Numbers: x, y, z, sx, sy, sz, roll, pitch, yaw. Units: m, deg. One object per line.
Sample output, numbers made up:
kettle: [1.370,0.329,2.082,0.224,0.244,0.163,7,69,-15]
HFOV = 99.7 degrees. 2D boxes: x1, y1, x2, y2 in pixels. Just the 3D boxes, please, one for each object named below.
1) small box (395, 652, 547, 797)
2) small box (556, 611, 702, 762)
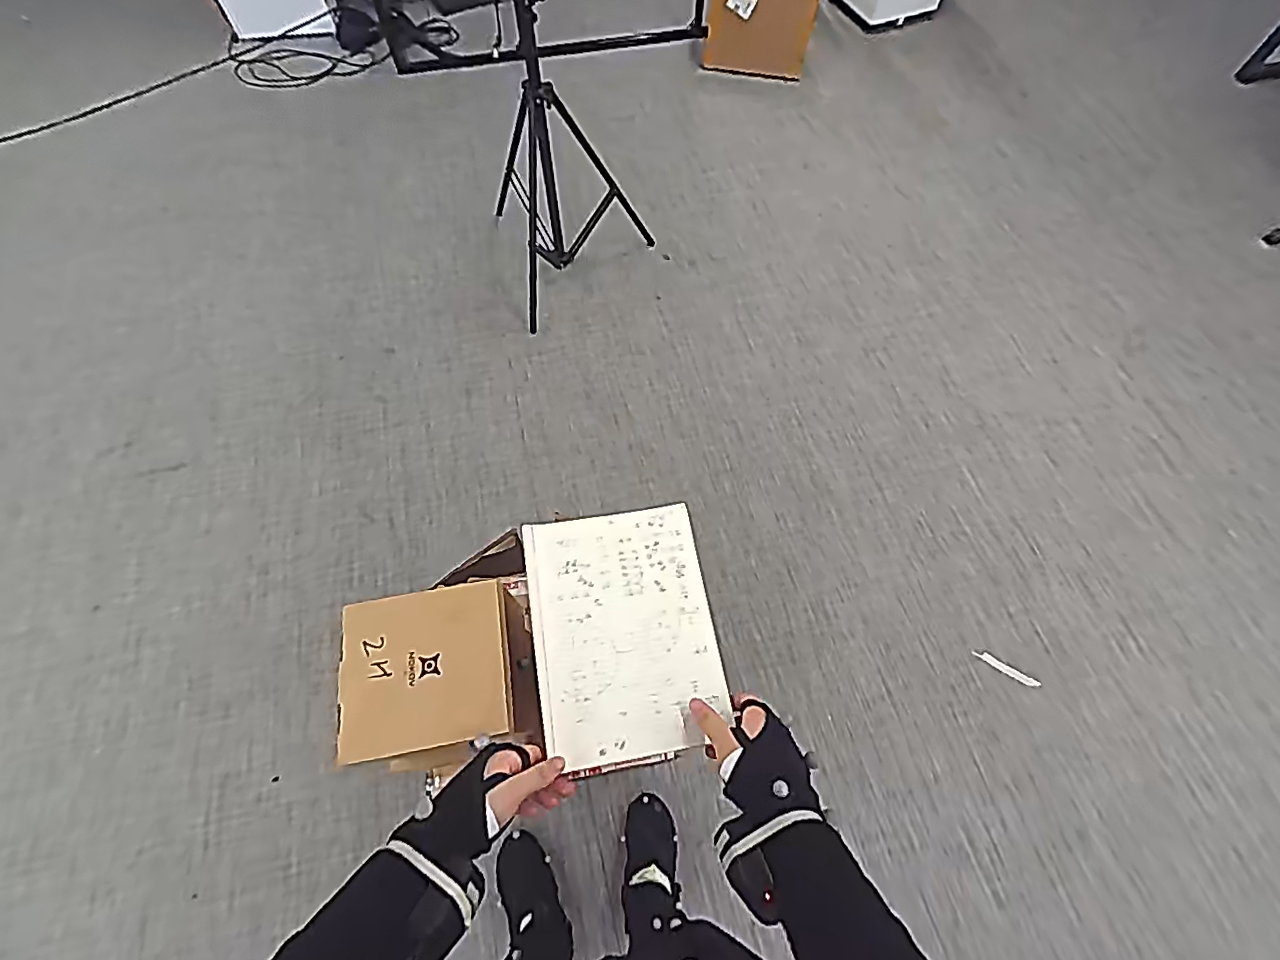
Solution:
small box: [-0.234,0.353,0.795,0.179,0.176,0.168,-6,66,-2]
small box: [-0.023,0.312,0.821,0.179,0.176,0.168,-12,66,-8]
